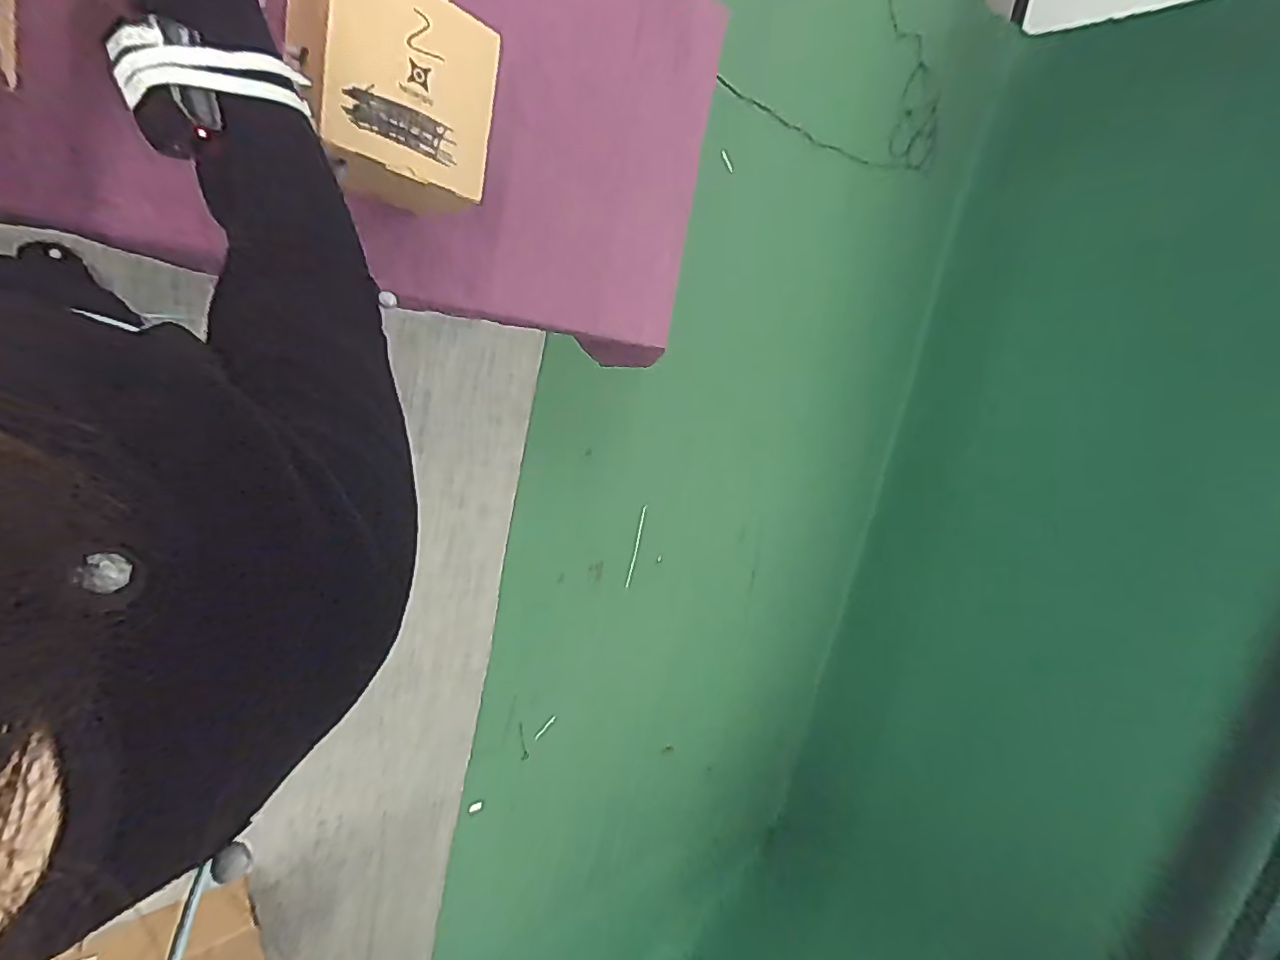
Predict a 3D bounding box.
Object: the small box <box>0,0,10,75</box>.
[{"bbox_3d":[-0.535,-0.402,0.345,0.168,0.176,0.179,1,106,-47],"label":"small box"}]
